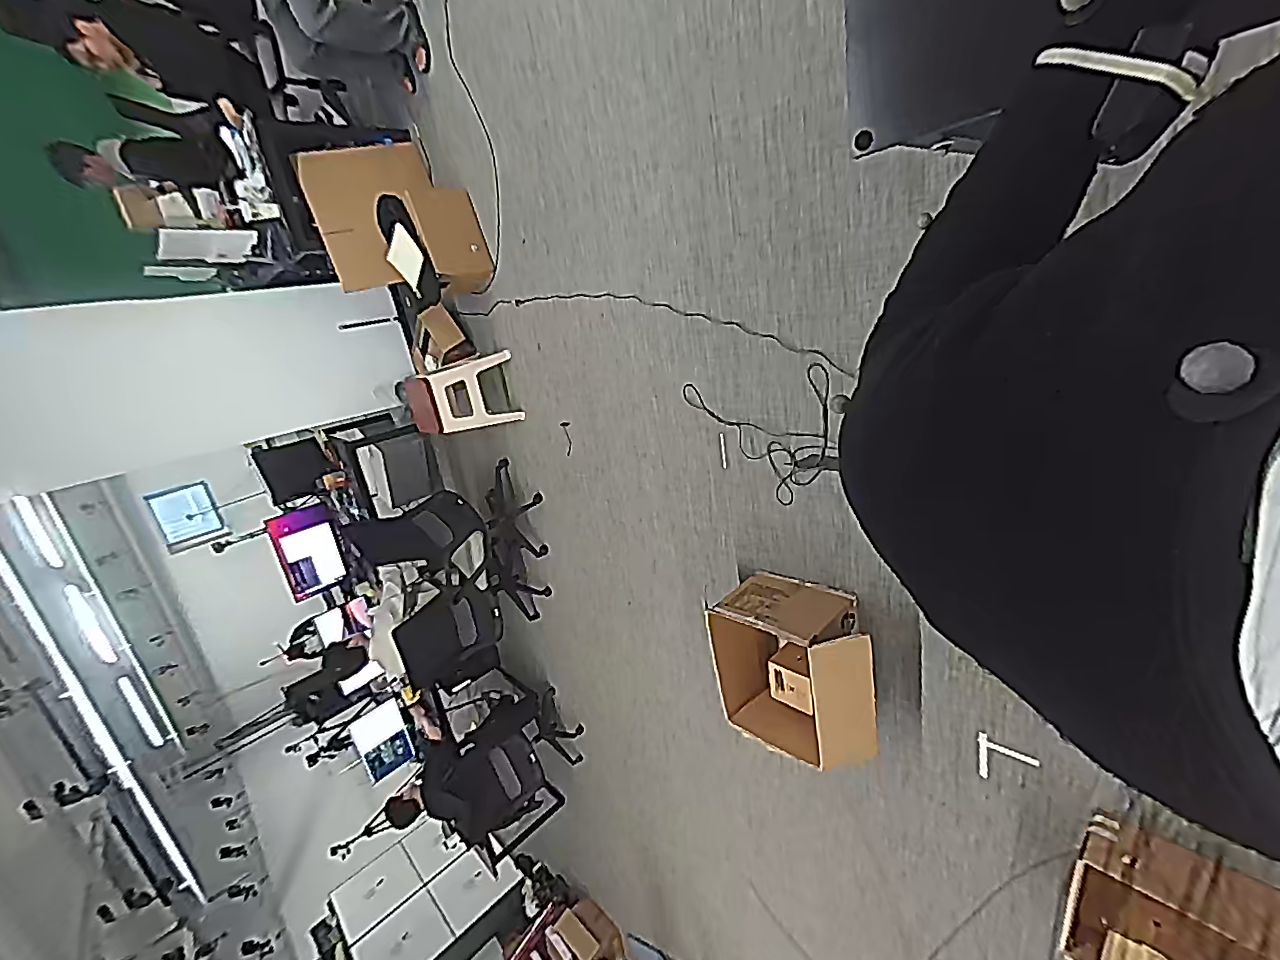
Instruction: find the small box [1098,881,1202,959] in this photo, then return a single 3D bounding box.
[{"bbox_3d":[1.299,1.188,1.380,0.168,0.176,0.179,15,118,44],"label":"small box"}]
